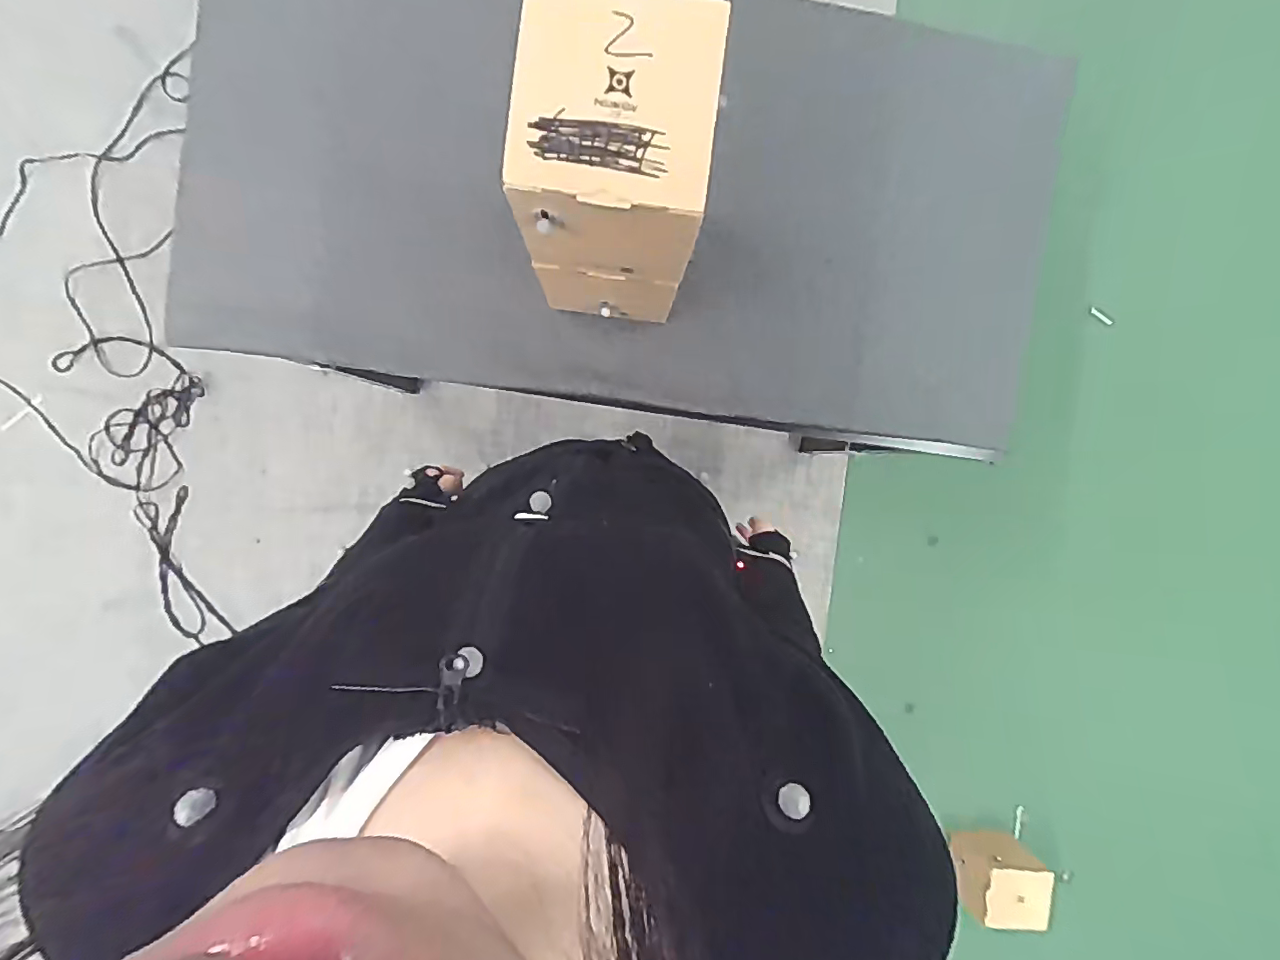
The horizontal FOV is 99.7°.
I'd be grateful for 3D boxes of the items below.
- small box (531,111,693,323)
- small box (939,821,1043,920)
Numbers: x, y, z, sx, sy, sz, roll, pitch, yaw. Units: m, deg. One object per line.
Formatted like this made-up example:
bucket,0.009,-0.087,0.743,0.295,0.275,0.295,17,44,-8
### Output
small box,-0.037,-0.315,0.683,0.168,0.176,0.179,6,92,-3
small box,0.998,1.111,1.548,0.179,0.176,0.168,5,93,-3
